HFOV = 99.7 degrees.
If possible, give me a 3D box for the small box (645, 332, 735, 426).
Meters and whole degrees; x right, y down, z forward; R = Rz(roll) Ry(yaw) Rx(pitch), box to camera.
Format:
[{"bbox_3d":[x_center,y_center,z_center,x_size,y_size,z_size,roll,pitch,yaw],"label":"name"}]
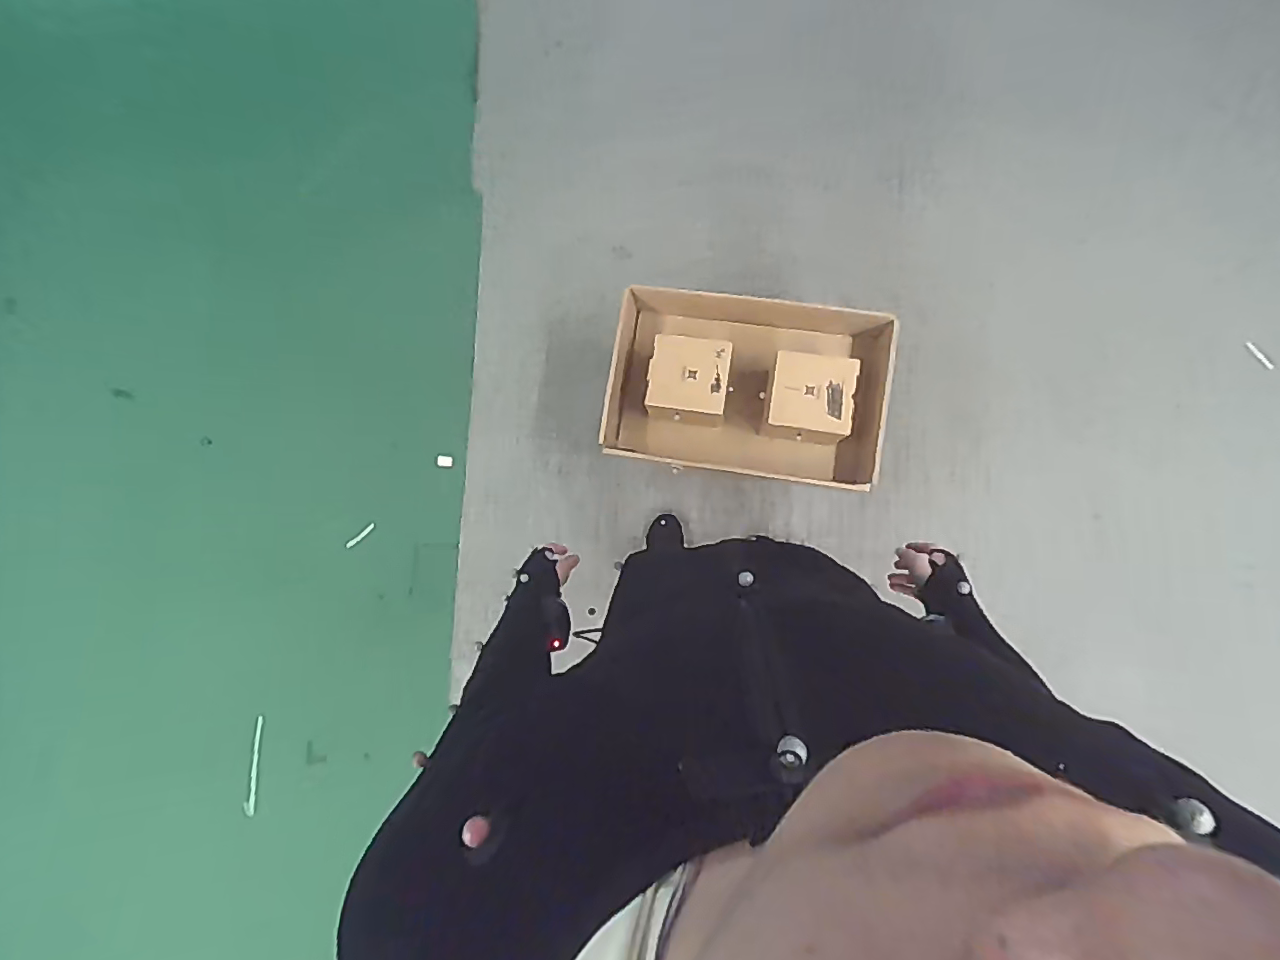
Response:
[{"bbox_3d":[0.120,-0.230,1.261,0.179,0.176,0.168,9,86,9],"label":"small box"}]
